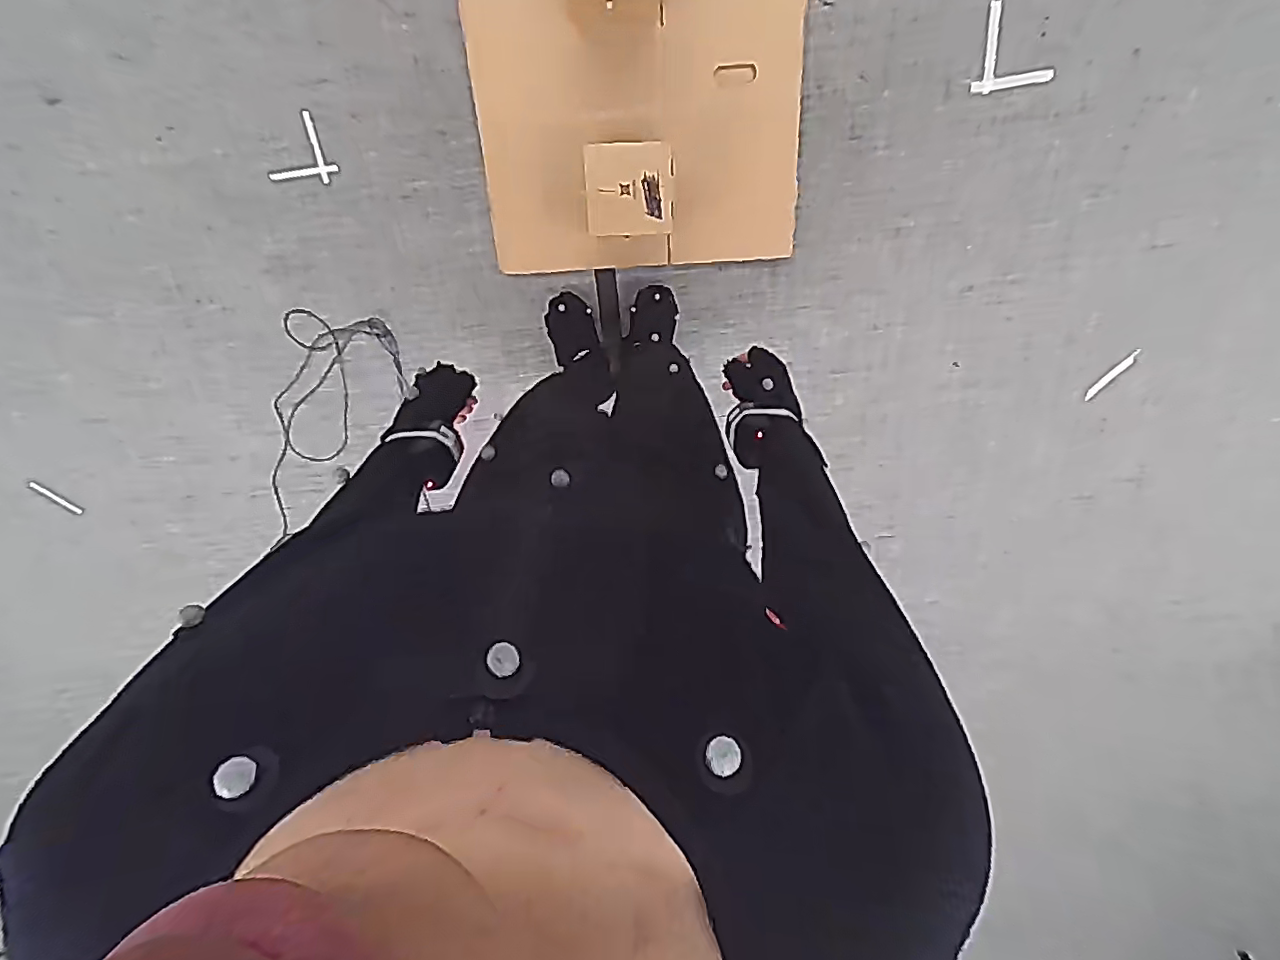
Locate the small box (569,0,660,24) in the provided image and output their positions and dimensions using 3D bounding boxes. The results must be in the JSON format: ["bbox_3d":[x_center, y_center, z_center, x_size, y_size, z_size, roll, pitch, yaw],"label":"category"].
[{"bbox_3d":[-0.049,-0.967,0.989,0.179,0.176,0.168,-2,114,-2],"label":"small box"}]

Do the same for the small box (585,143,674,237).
[{"bbox_3d":[-0.022,-0.612,1.152,0.179,0.176,0.168,-2,115,-1],"label":"small box"}]
